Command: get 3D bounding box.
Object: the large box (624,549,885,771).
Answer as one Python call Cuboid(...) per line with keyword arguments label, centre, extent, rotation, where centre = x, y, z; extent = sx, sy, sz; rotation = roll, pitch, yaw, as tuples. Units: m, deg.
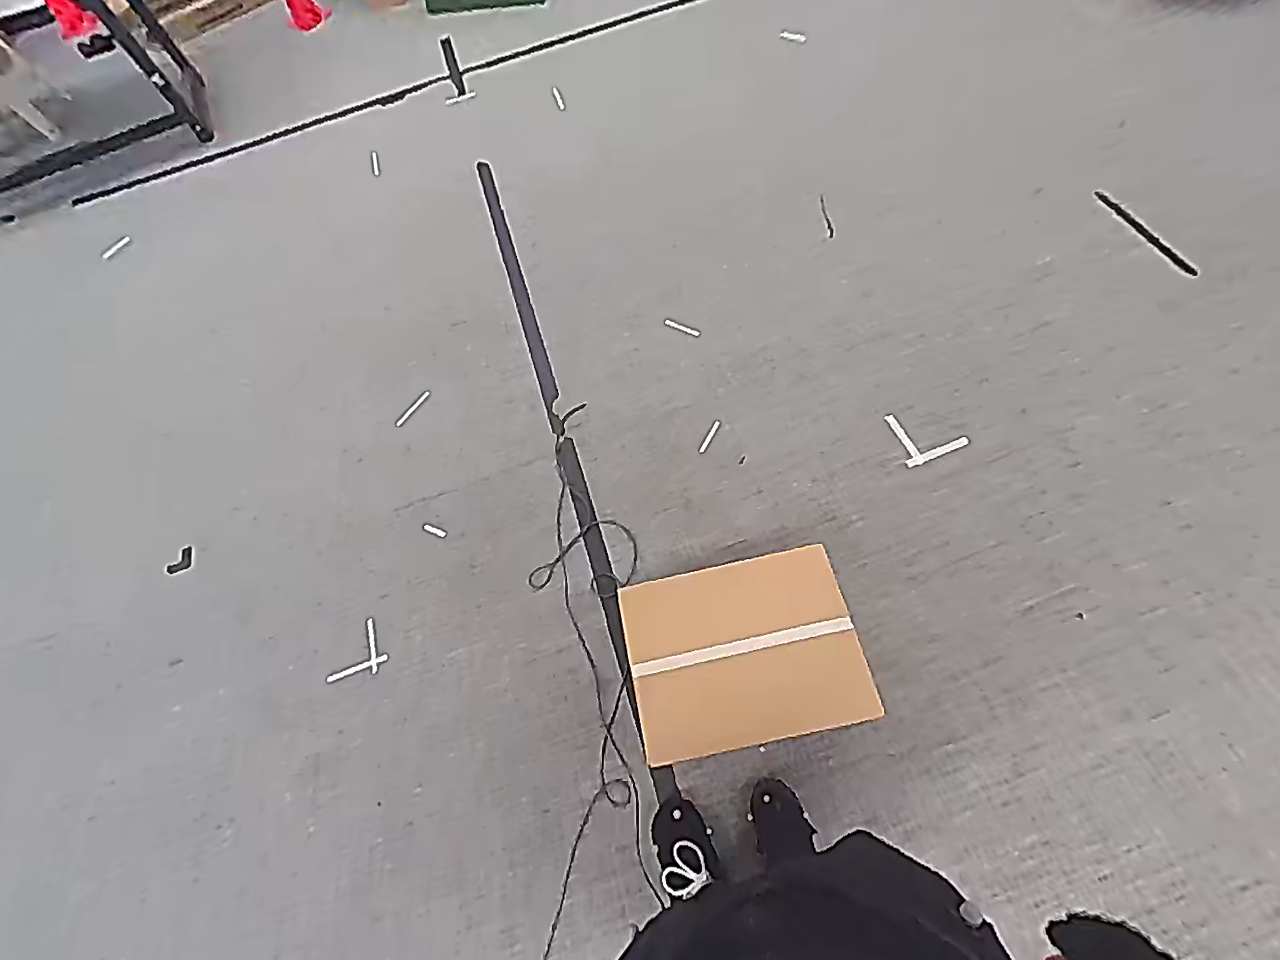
Cuboid(label="large box", centre=(0.206, 0.375, 1.101), extent=(0.408, 0.320, 0.320), rotation=(-13, 64, 1))
